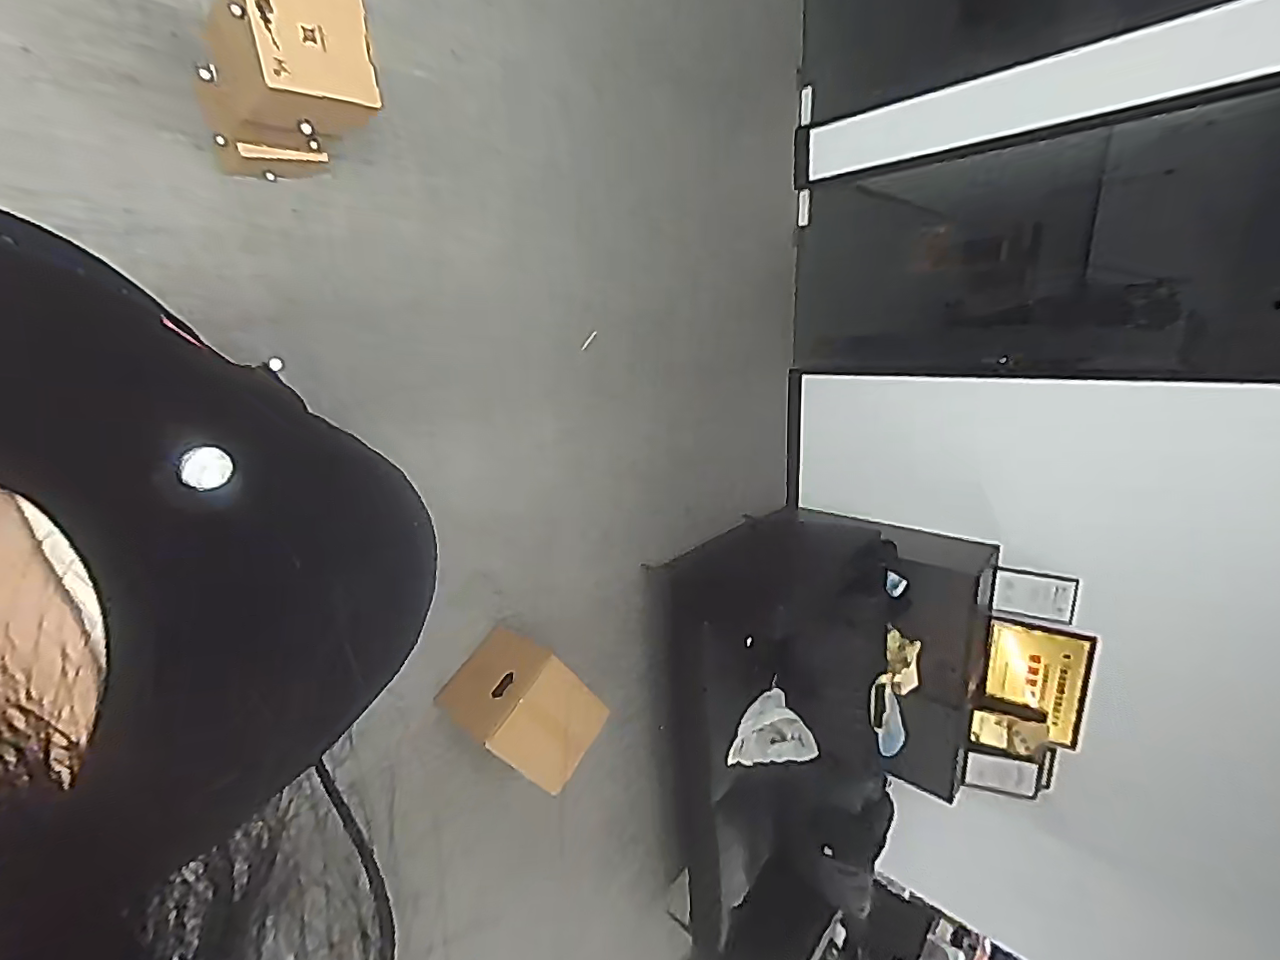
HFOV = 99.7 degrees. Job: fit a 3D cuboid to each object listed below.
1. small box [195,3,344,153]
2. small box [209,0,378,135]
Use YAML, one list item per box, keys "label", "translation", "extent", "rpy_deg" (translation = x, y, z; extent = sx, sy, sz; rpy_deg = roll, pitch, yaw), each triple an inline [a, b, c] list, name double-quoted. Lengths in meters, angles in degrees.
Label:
- label: "small box"
  translation: [-0.688, -0.729, 1.007]
  extent: [0.179, 0.176, 0.168]
  rpy_deg: [-21, 113, -43]
- label: "small box"
  translation: [-0.572, -0.695, 0.897]
  extent: [0.179, 0.176, 0.168]
  rpy_deg: [-22, 114, -44]
